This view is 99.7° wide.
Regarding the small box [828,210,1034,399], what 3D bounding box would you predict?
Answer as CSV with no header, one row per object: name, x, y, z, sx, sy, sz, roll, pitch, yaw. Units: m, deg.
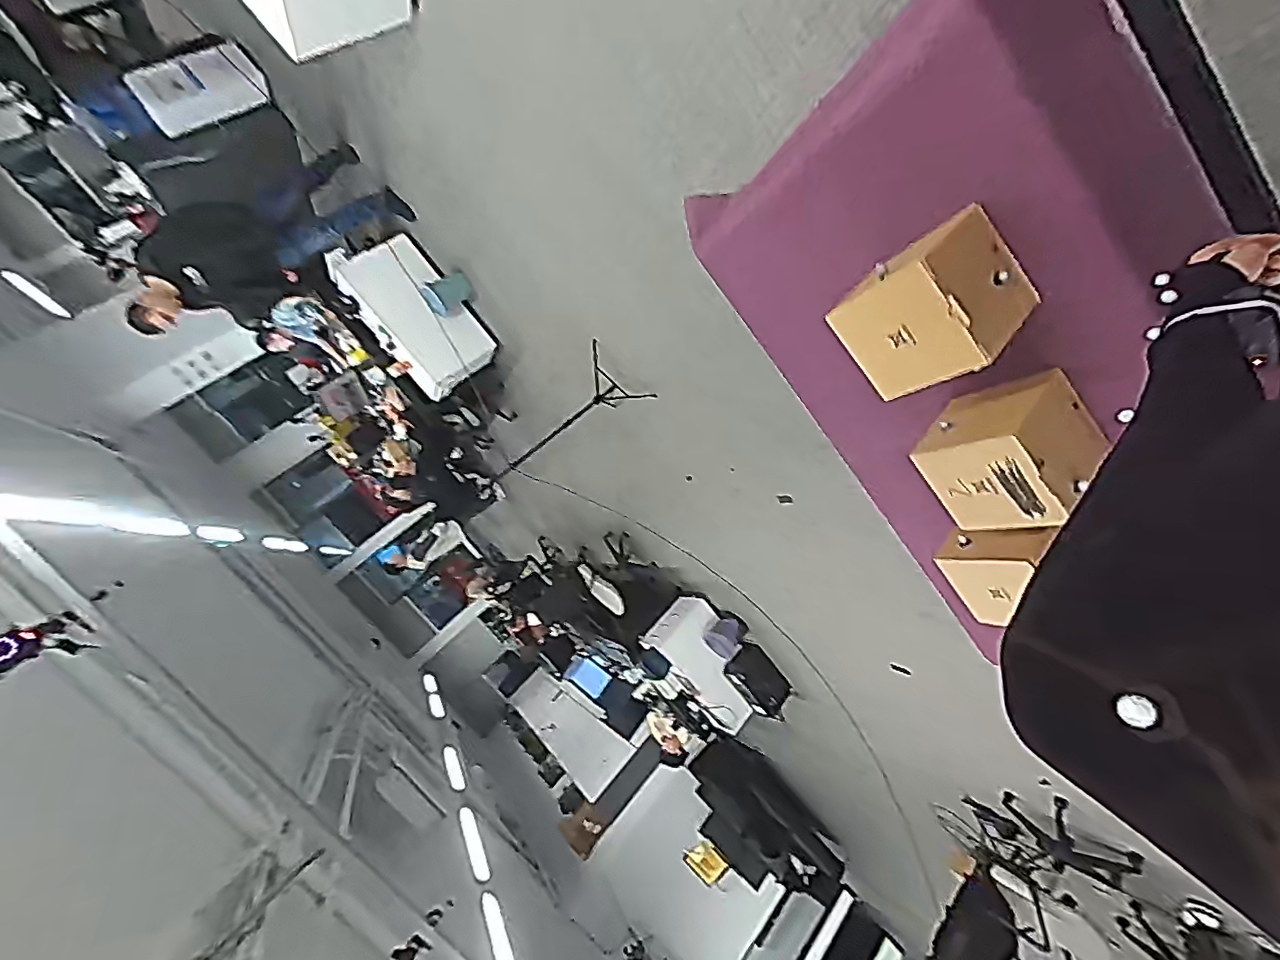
small box,0.424,-0.251,0.795,0.168,0.176,0.179,50,157,-8

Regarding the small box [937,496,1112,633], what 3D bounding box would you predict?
small box,0.688,0.146,0.972,0.168,0.176,0.179,51,156,-9
